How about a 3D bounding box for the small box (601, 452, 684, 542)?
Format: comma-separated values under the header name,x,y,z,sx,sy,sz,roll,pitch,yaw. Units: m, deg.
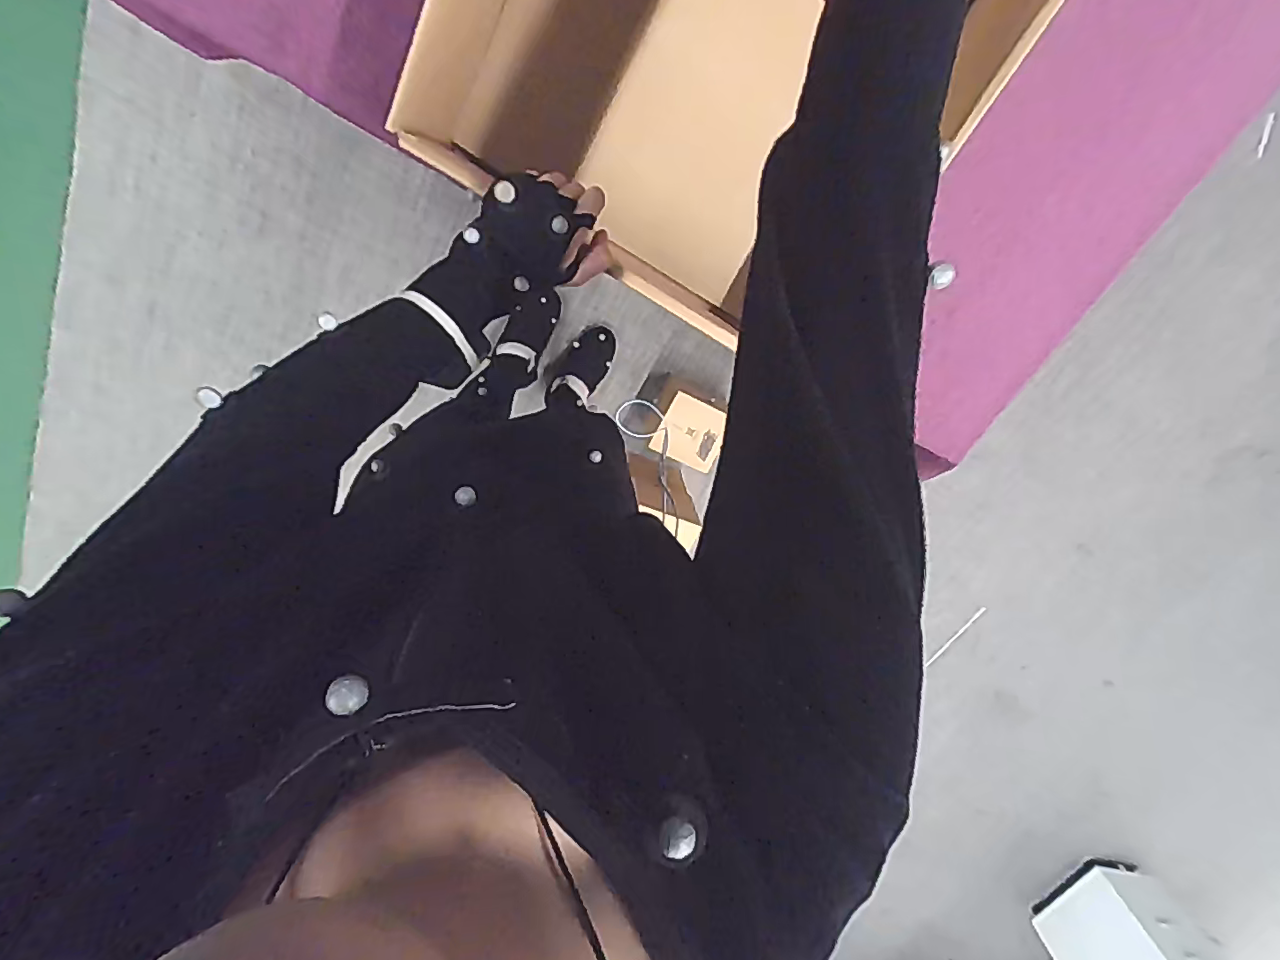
name,x,y,z,sx,sy,sz,roll,pitch,yaw
small box,0.001,0.041,1.508,0.179,0.176,0.168,20,113,-14
